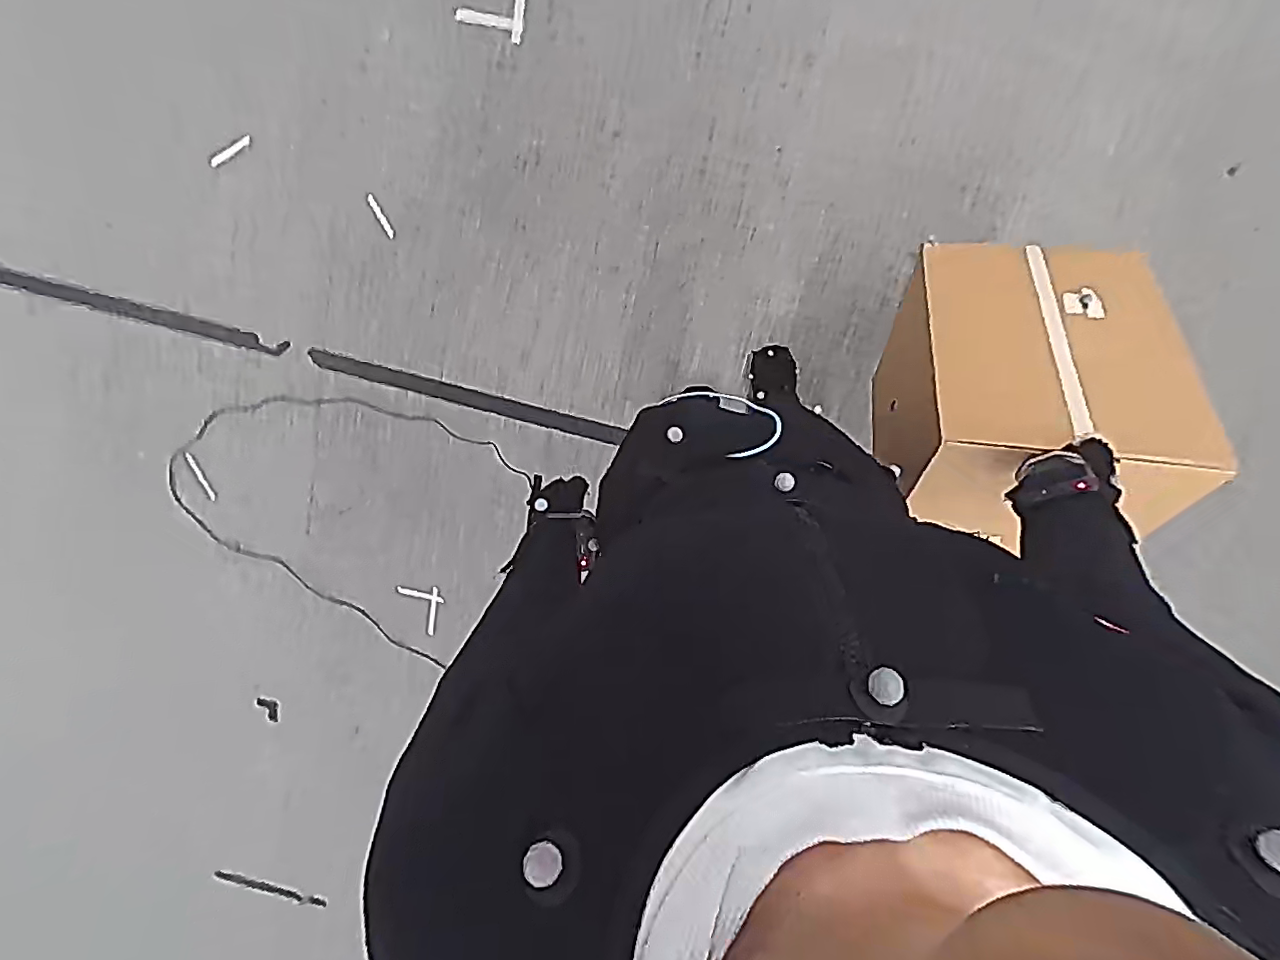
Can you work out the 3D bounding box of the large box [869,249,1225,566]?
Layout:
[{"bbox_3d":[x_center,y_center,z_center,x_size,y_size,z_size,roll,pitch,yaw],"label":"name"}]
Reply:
[{"bbox_3d":[0.575,-0.114,0.877,0.320,0.408,0.320,7,147,10],"label":"large box"}]
